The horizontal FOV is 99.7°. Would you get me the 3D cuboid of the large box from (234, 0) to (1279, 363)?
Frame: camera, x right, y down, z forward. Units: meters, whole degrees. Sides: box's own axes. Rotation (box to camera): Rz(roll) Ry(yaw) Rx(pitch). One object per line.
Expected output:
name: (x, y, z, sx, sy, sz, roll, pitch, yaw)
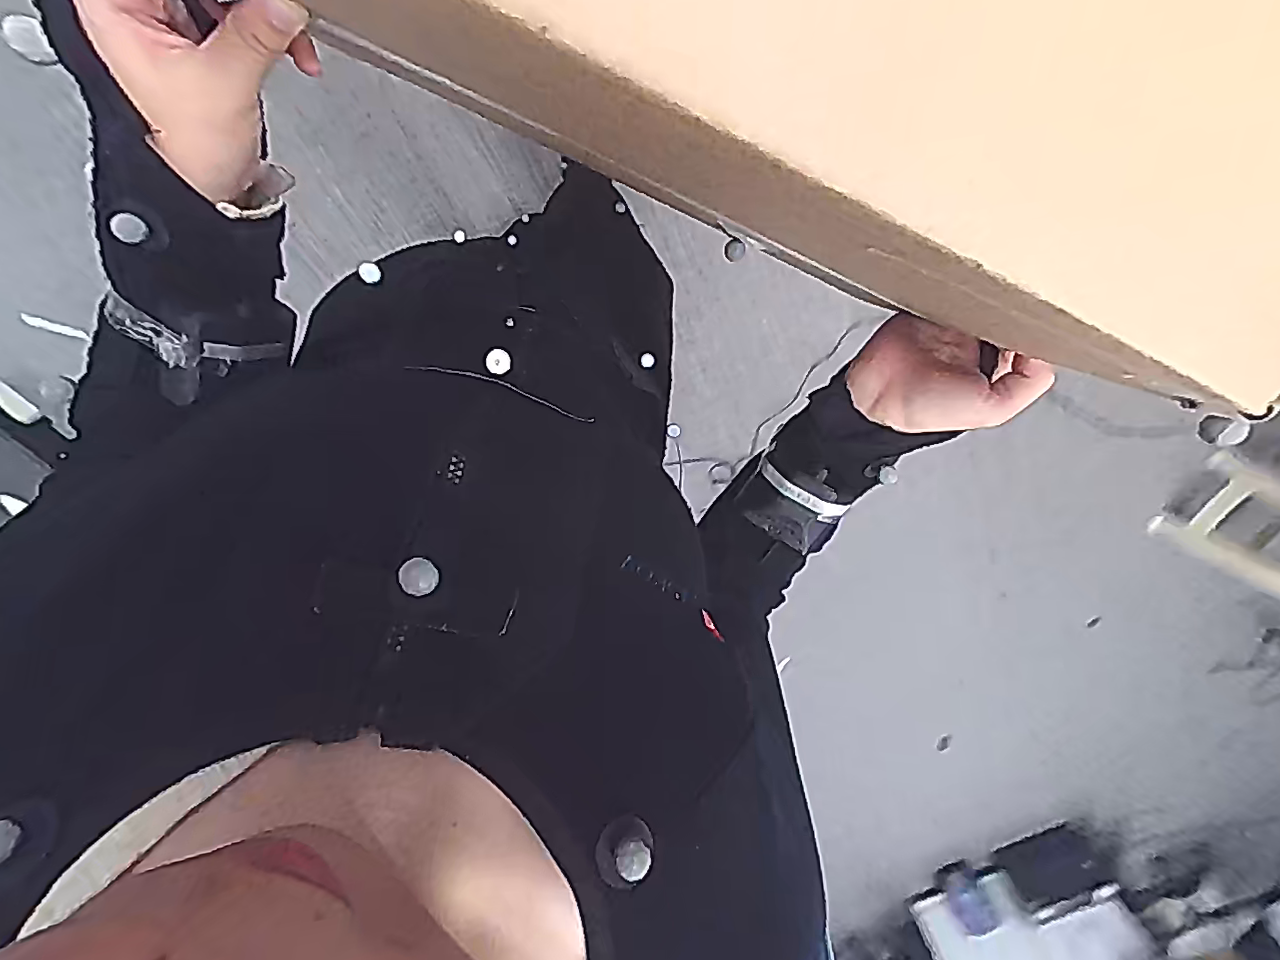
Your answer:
large box: (0.047, -0.285, 0.192, 0.408, 0.320, 0.320, 16, 116, -13)
